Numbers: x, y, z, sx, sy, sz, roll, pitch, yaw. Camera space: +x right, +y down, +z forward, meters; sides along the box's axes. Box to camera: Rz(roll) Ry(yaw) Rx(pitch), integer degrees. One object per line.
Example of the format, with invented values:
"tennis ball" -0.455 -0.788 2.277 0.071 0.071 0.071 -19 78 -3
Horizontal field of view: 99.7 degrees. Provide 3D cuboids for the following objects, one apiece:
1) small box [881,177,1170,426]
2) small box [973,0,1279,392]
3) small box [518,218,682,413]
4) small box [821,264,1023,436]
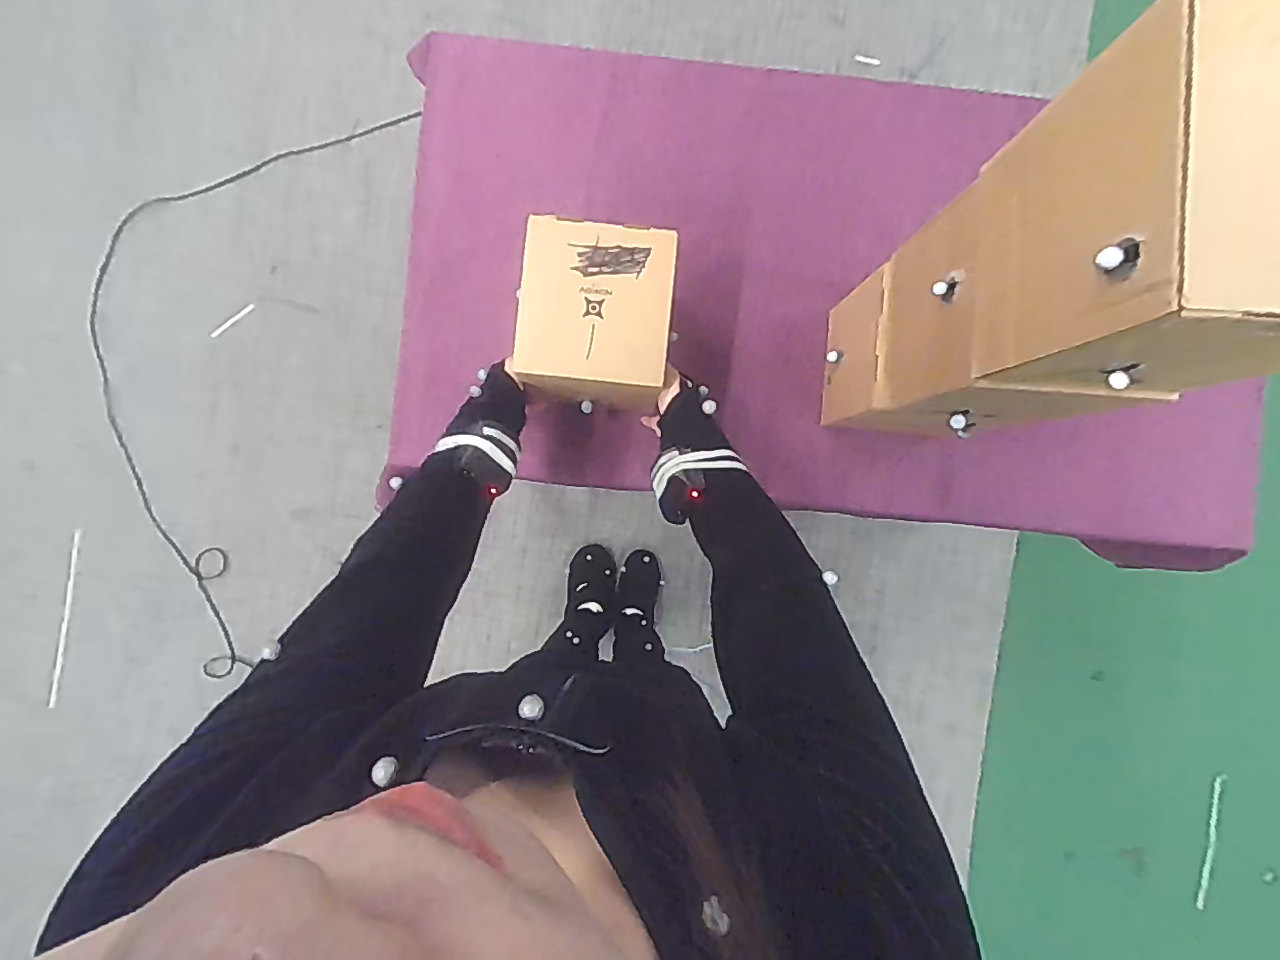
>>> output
"small box" 0.349 -0.153 0.513 0.168 0.176 0.179 5 90 0
"small box" 0.348 -0.161 0.351 0.168 0.176 0.179 3 90 0
"small box" -0.046 -0.189 0.668 0.168 0.176 0.179 6 88 -1
"small box" 0.348 -0.149 0.676 0.179 0.176 0.168 6 89 -1
